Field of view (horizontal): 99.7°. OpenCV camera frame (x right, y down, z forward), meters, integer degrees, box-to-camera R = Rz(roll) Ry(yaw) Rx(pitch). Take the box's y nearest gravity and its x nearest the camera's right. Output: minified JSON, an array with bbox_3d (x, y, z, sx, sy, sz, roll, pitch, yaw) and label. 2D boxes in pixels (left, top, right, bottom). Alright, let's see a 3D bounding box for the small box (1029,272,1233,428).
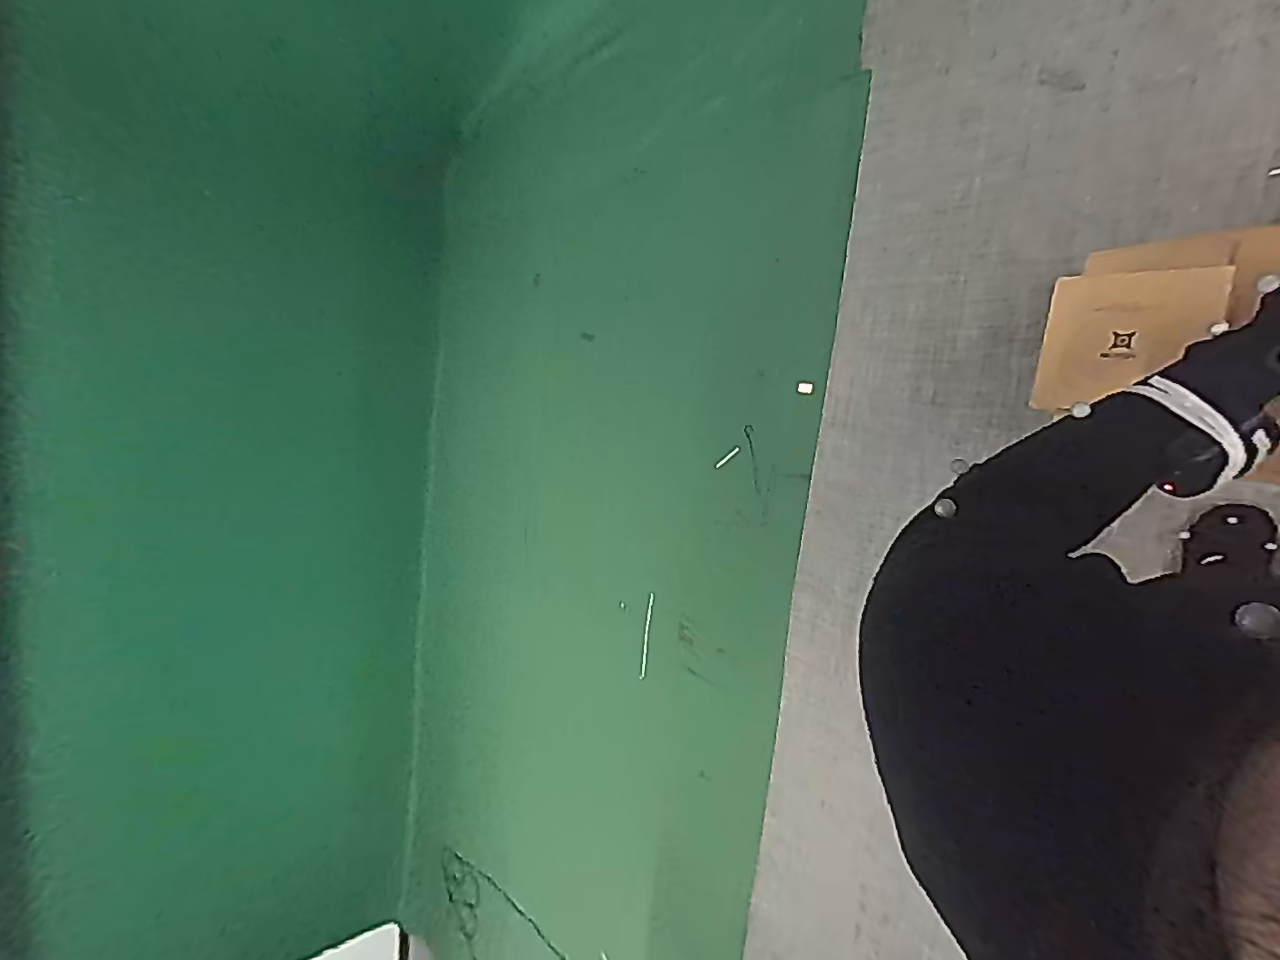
[{"bbox_3d":[0.657,-0.166,0.727,0.168,0.176,0.179,15,102,45],"label":"small box"}]
